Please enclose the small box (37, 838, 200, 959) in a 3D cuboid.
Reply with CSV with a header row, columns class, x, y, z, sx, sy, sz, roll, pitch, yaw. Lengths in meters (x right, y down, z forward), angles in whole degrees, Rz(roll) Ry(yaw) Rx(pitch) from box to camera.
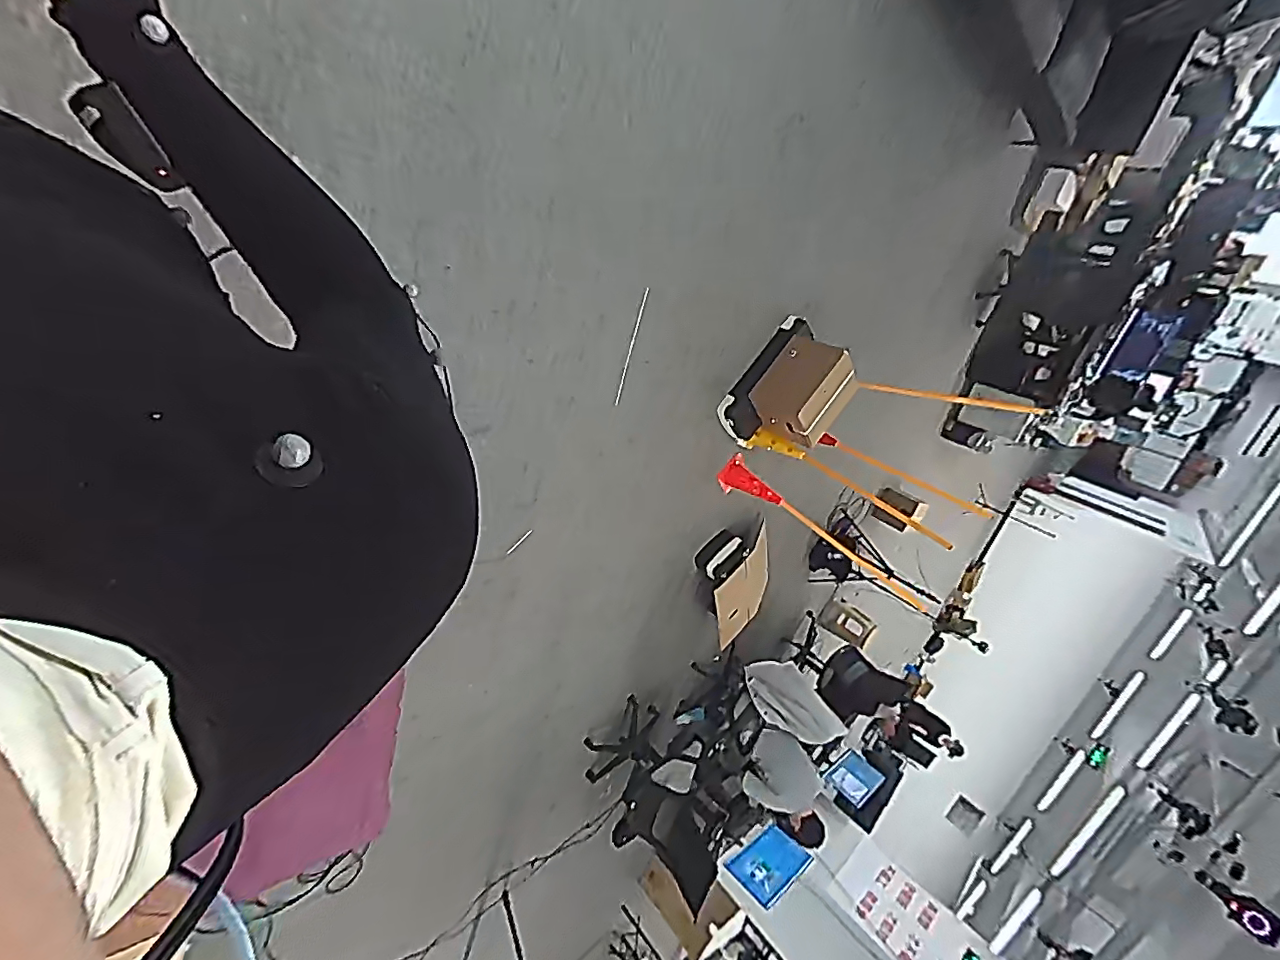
class,x,y,z,sx,sy,sz,roll,pitch,yaw
small box,-0.863,0.749,0.893,0.179,0.176,0.168,7,110,-48
